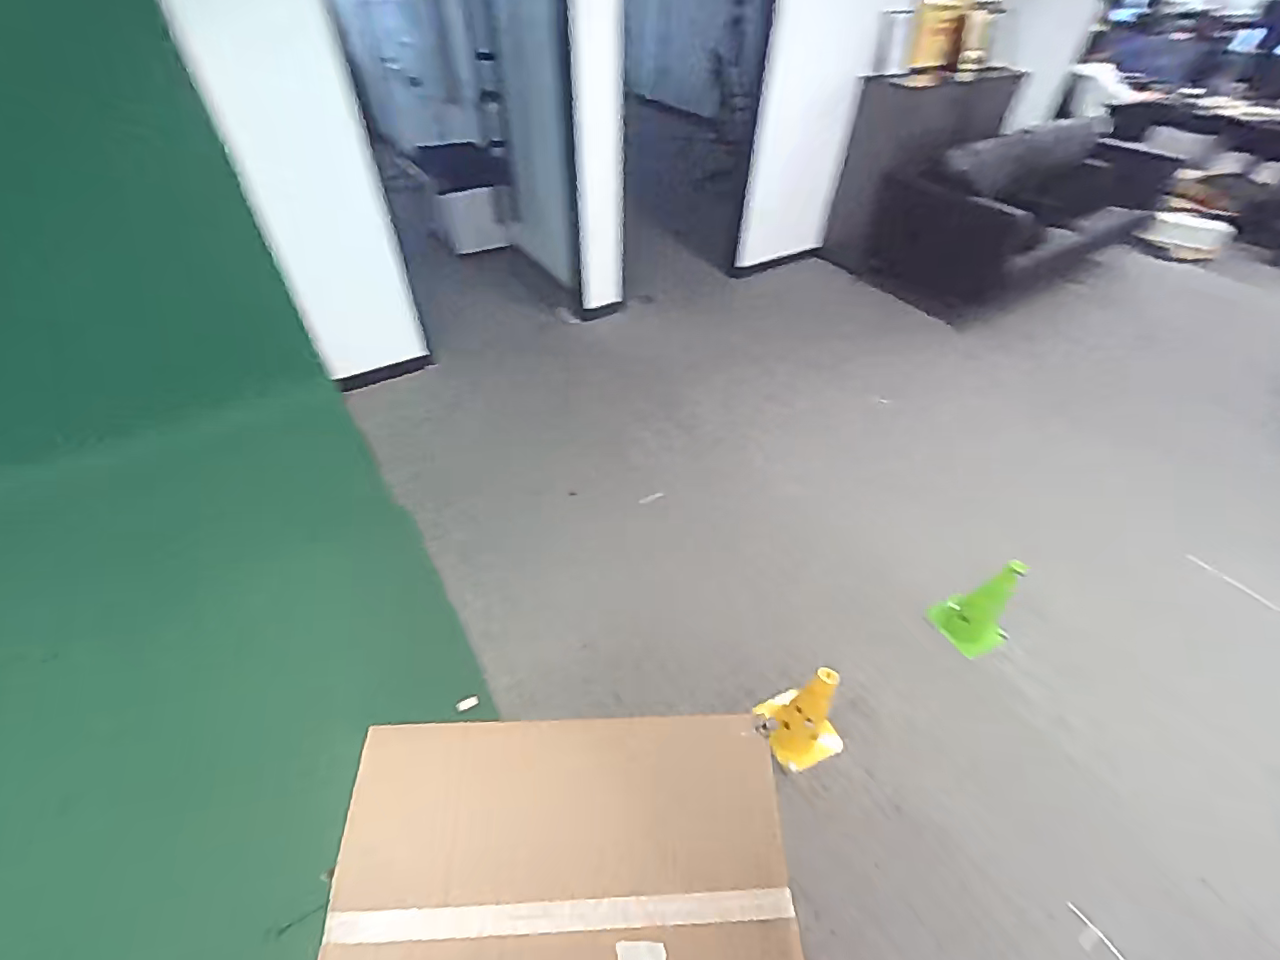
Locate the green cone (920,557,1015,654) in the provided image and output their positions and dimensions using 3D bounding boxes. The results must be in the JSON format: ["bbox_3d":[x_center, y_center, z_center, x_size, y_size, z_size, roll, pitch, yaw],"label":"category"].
[{"bbox_3d":[1.113,0.368,1.762,0.202,0.368,0.200,-20,49,-19],"label":"green cone"}]

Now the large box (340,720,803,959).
[{"bbox_3d":[-0.065,0.466,0.604,0.408,0.320,0.320,0,58,-3],"label":"large box"}]
